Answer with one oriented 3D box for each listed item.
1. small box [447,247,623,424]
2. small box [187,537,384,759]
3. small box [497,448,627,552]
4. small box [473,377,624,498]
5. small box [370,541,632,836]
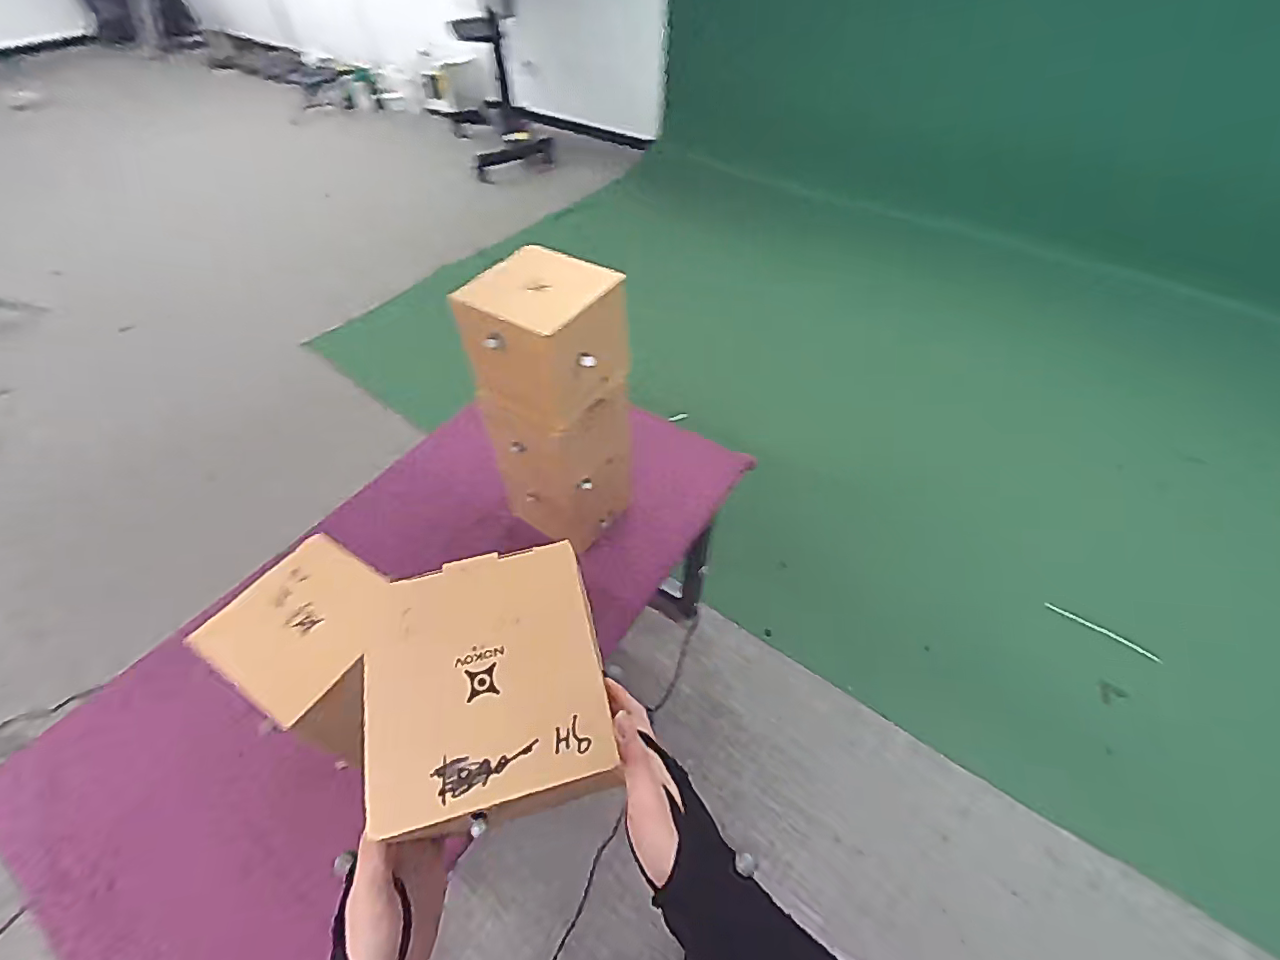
[{"bbox_3d":[-0.139,-0.206,0.789,0.179,0.176,0.168,25,56,23],"label":"small box"},{"bbox_3d":[-0.369,0.207,0.652,0.179,0.176,0.168,26,54,20],"label":"small box"},{"bbox_3d":[-0.140,0.009,1.034,0.179,0.176,0.168,29,57,23],"label":"small box"},{"bbox_3d":[-0.141,-0.094,0.907,0.179,0.176,0.168,27,57,24],"label":"small box"},{"bbox_3d":[-0.106,0.180,0.456,0.168,0.176,0.179,-13,57,-6],"label":"small box"}]
